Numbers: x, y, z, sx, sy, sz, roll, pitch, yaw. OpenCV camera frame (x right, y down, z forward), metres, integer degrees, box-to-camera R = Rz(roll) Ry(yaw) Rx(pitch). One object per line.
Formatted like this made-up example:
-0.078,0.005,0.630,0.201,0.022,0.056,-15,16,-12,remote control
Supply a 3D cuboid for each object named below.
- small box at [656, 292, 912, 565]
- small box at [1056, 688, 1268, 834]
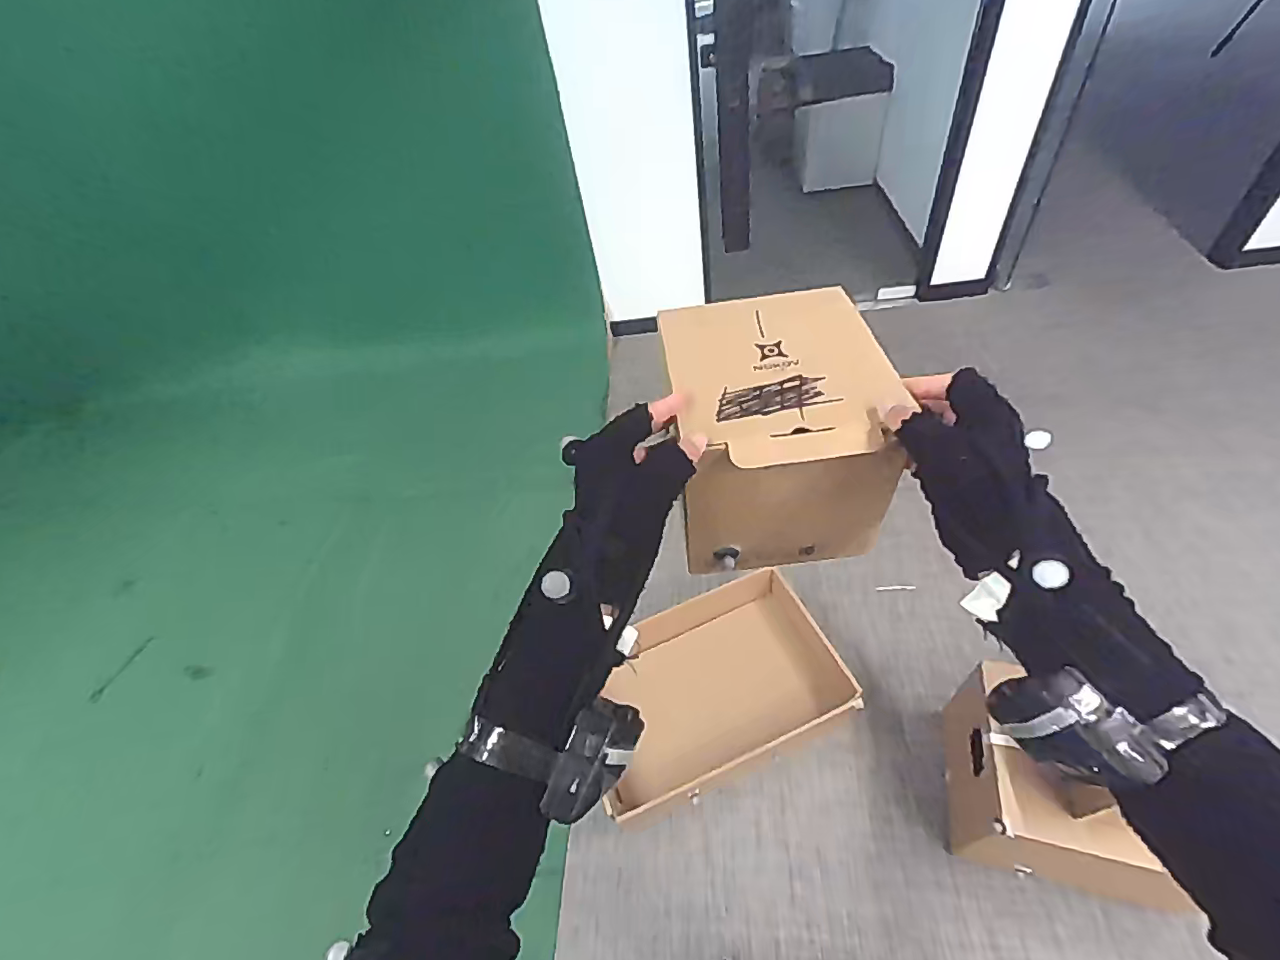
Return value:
0.109,-0.038,0.482,0.168,0.176,0.179,-7,48,1,small box
0.817,0.457,0.879,0.179,0.176,0.168,1,50,13,small box
